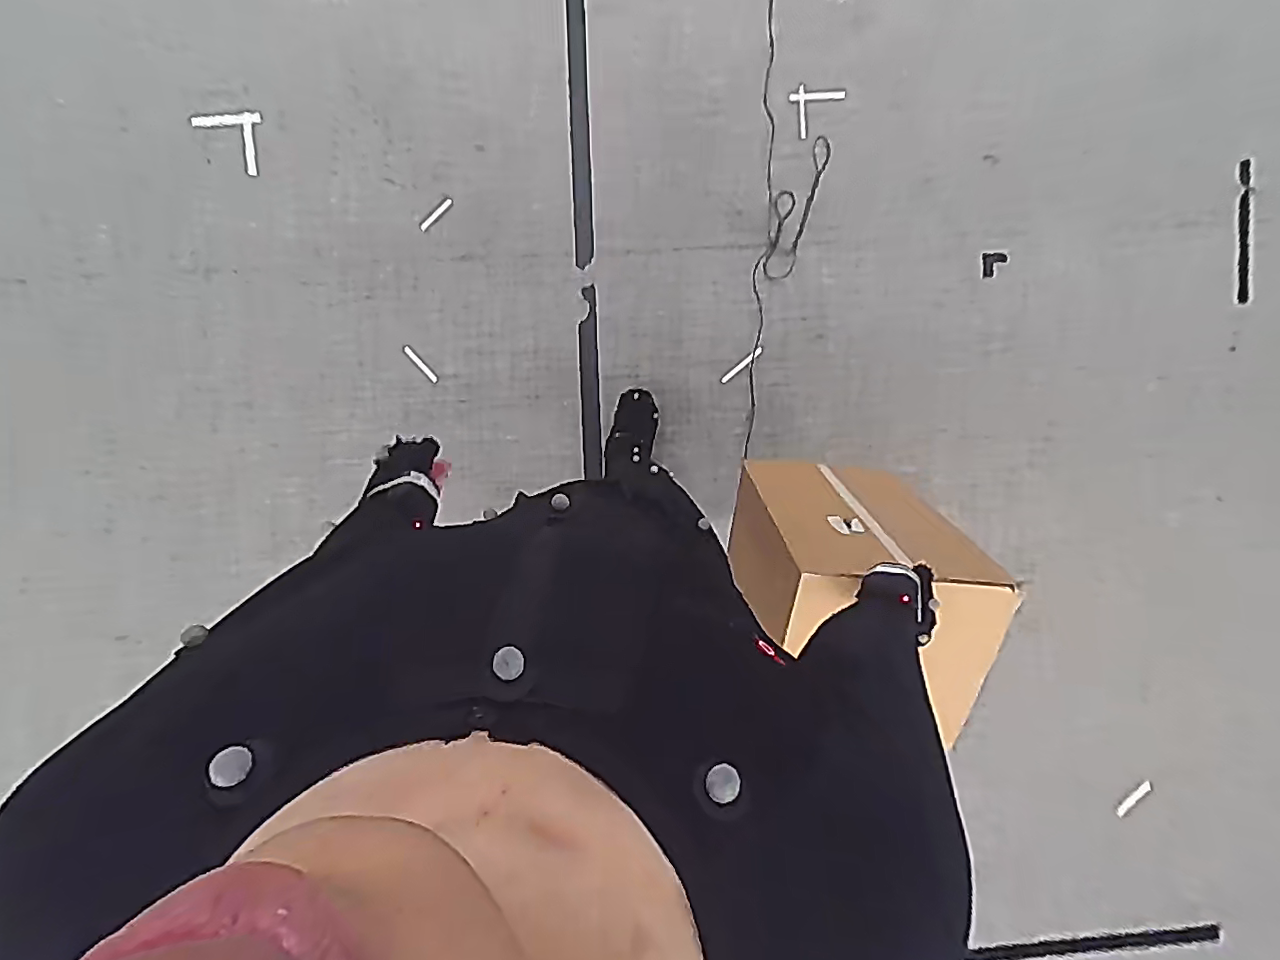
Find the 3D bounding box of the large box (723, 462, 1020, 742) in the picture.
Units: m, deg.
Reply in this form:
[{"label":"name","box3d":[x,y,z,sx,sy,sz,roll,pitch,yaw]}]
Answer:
[{"label":"large box","box3d":[0.355,0.194,0.978,0.320,0.408,0.320,4,114,-3]}]
